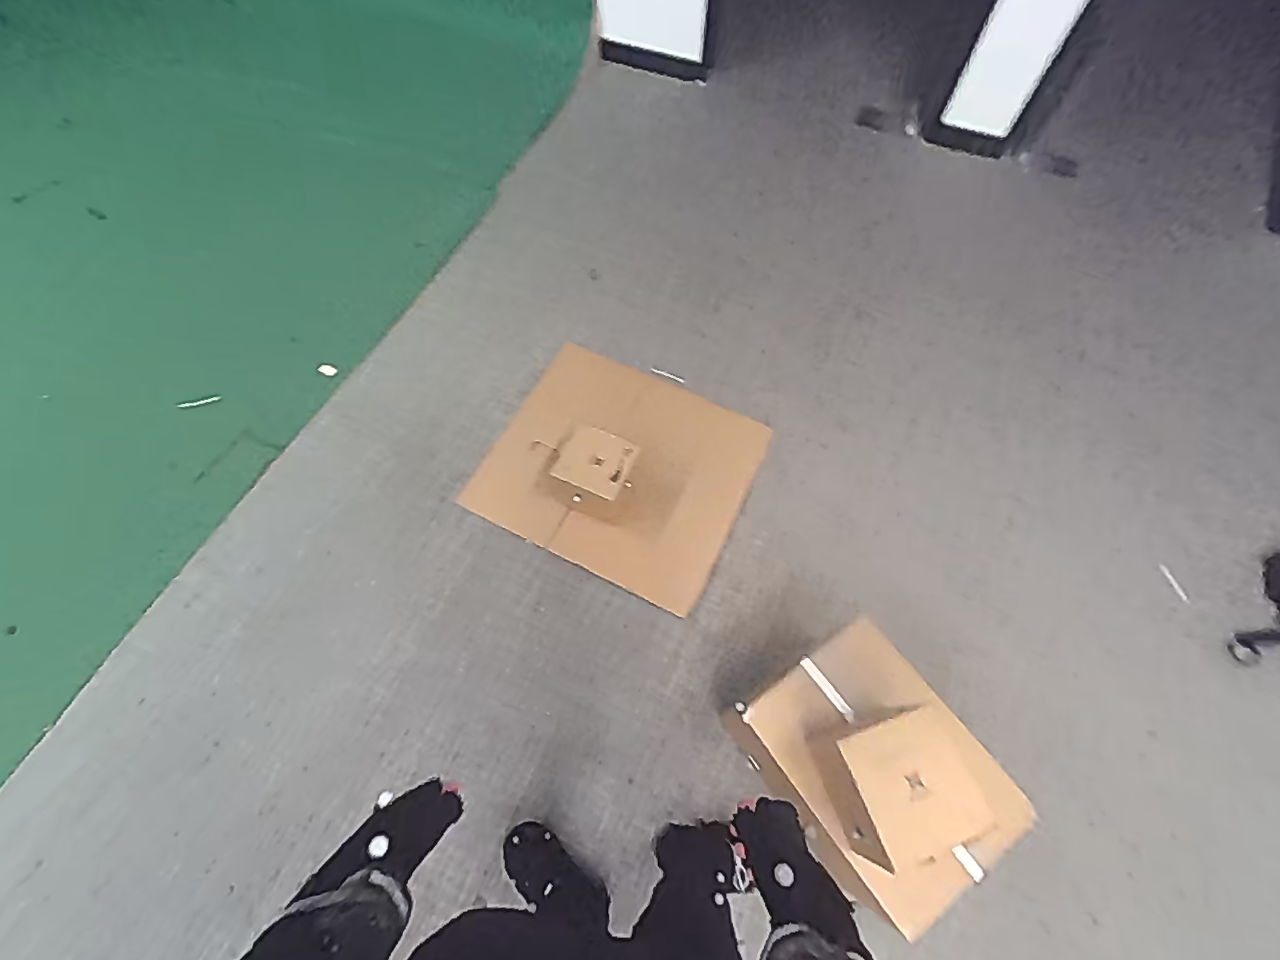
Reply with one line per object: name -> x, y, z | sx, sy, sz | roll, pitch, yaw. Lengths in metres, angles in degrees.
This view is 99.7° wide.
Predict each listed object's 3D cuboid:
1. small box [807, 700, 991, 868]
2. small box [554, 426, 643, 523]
small box -> 0.390, 0.466, 0.852 | 0.168, 0.176, 0.179 | -18, 65, -9
small box -> -0.101, -0.008, 1.409 | 0.179, 0.176, 0.168 | 20, 64, 11
